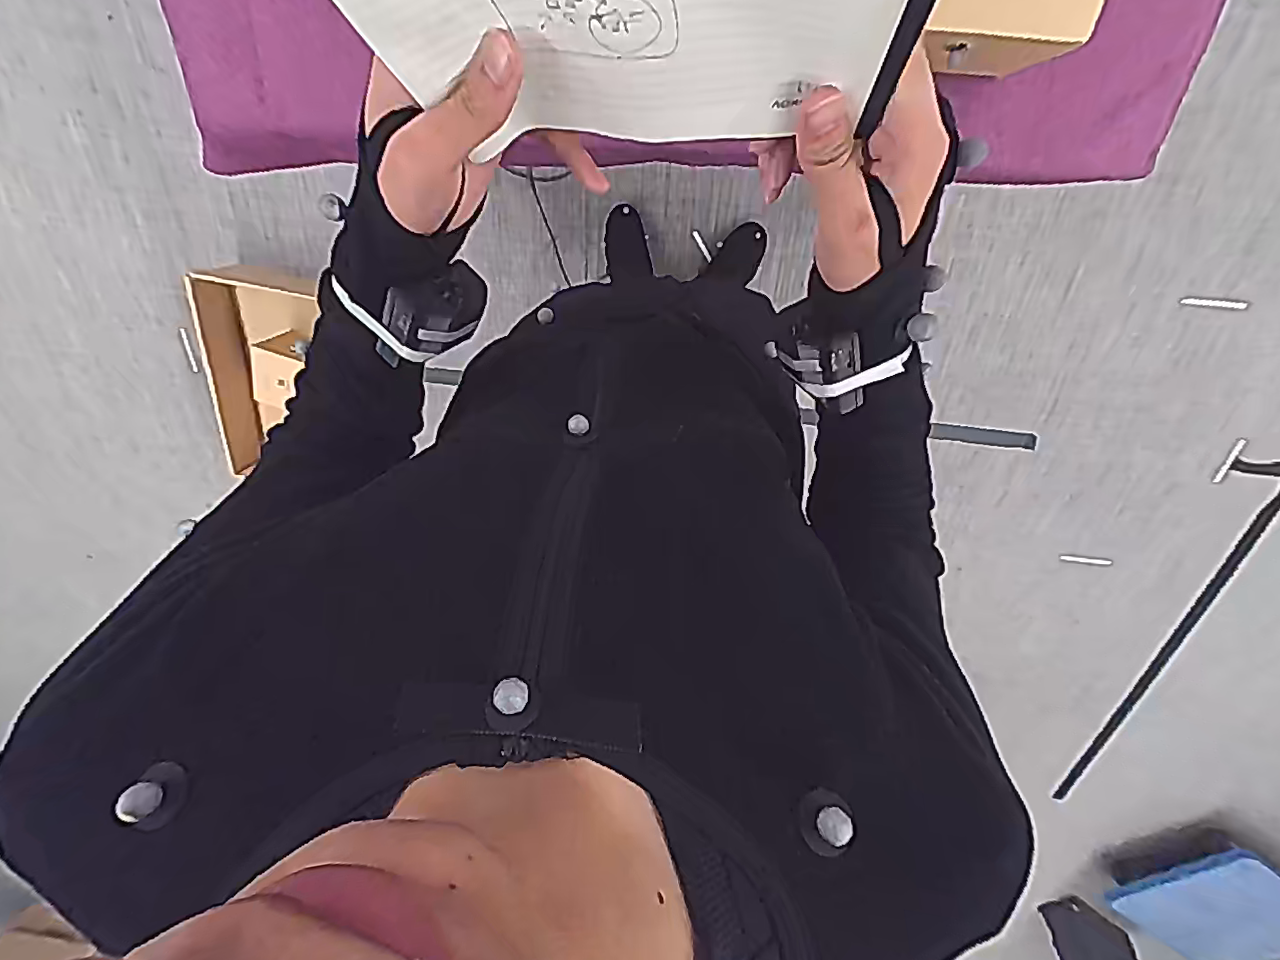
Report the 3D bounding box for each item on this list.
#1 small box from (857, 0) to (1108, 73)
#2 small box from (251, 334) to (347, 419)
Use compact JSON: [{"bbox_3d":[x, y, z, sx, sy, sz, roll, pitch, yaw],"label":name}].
[{"bbox_3d":[0.324,-0.501,0.507,0.179,0.176,0.168,7,119,3],"label":"small box"},{"bbox_3d":[-0.967,-0.303,1.550,0.179,0.176,0.168,18,120,-4],"label":"small box"}]
